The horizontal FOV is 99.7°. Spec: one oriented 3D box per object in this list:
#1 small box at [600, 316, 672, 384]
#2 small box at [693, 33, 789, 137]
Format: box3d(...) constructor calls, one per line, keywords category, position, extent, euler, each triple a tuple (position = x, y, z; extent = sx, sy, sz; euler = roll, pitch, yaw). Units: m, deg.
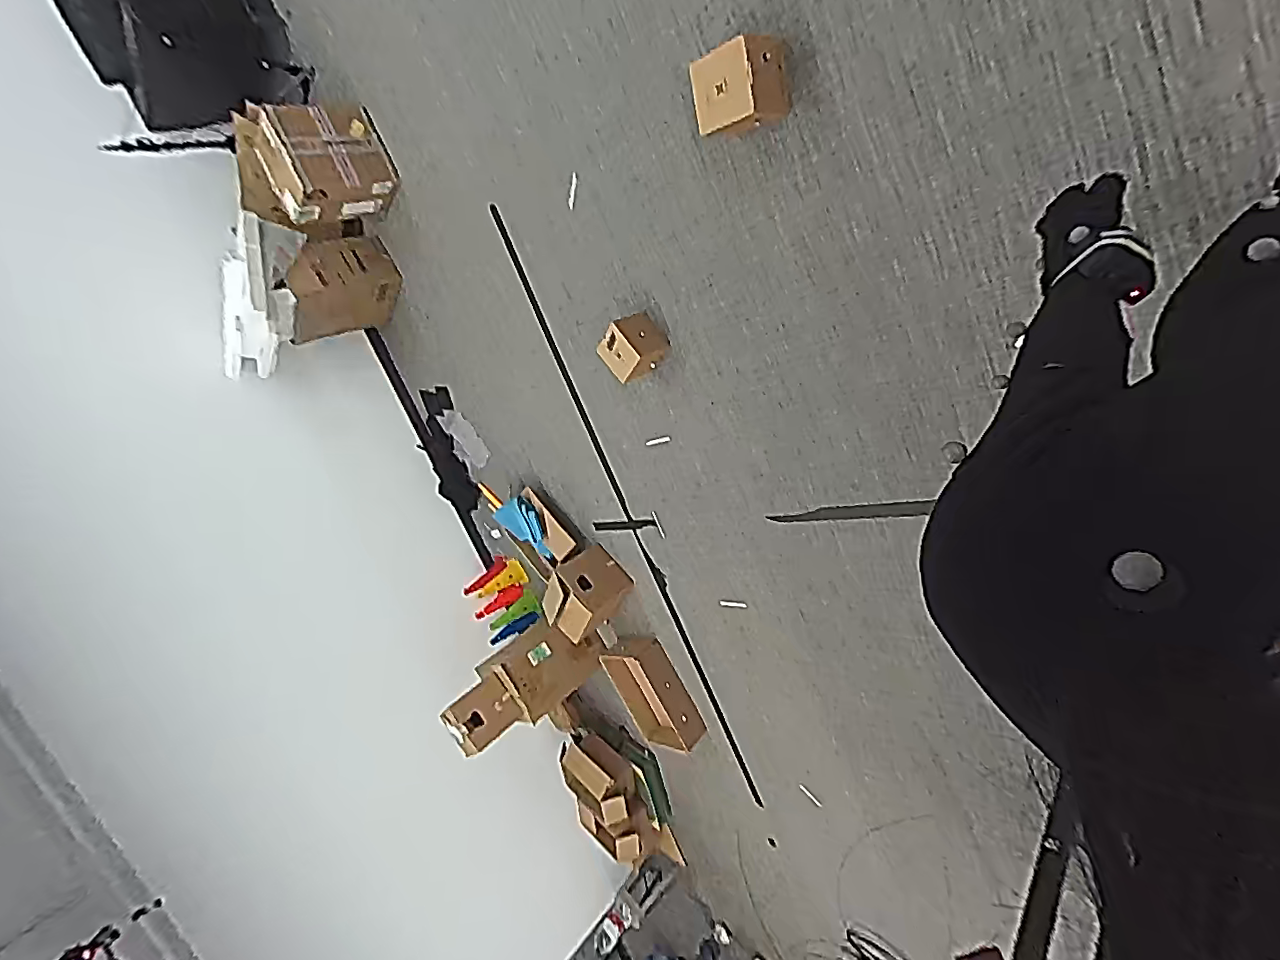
box3d(category="small box", position=(-0.013, -0.497, 2.038), extent=(0.179, 0.176, 0.168), euler=(52, 143, 7))
box3d(category="small box", position=(0.266, -1.003, 1.383), extent=(0.179, 0.176, 0.168), euler=(8, 118, 47))
